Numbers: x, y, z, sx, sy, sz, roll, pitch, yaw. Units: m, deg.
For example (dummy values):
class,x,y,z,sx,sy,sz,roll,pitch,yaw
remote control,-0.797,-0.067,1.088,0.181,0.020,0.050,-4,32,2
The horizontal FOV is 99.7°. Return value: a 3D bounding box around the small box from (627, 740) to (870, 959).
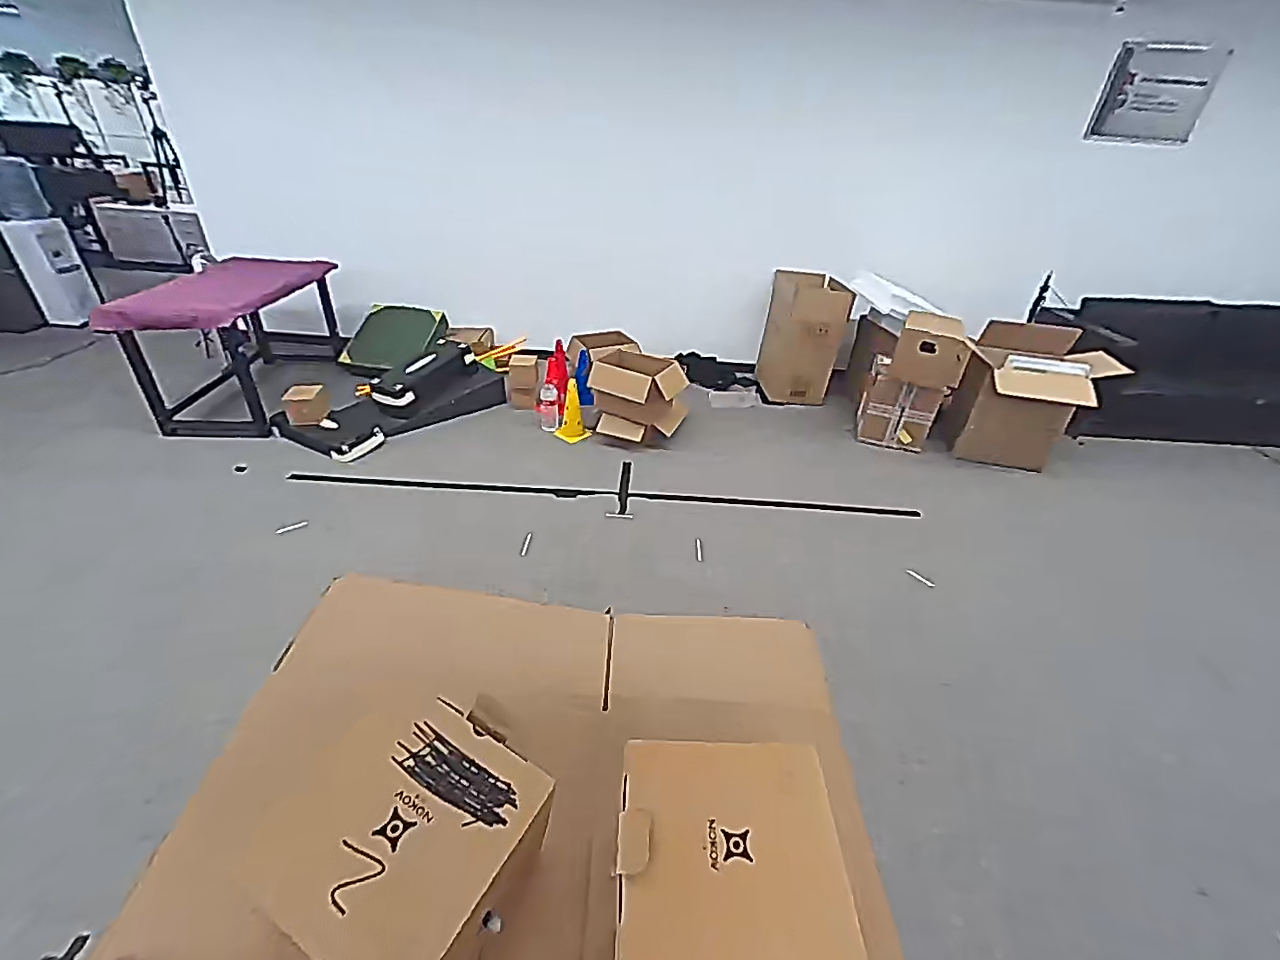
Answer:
class,x,y,z,sx,sy,sz,roll,pitch,yaw
small box,0.078,0.360,0.491,0.179,0.176,0.168,1,37,1
